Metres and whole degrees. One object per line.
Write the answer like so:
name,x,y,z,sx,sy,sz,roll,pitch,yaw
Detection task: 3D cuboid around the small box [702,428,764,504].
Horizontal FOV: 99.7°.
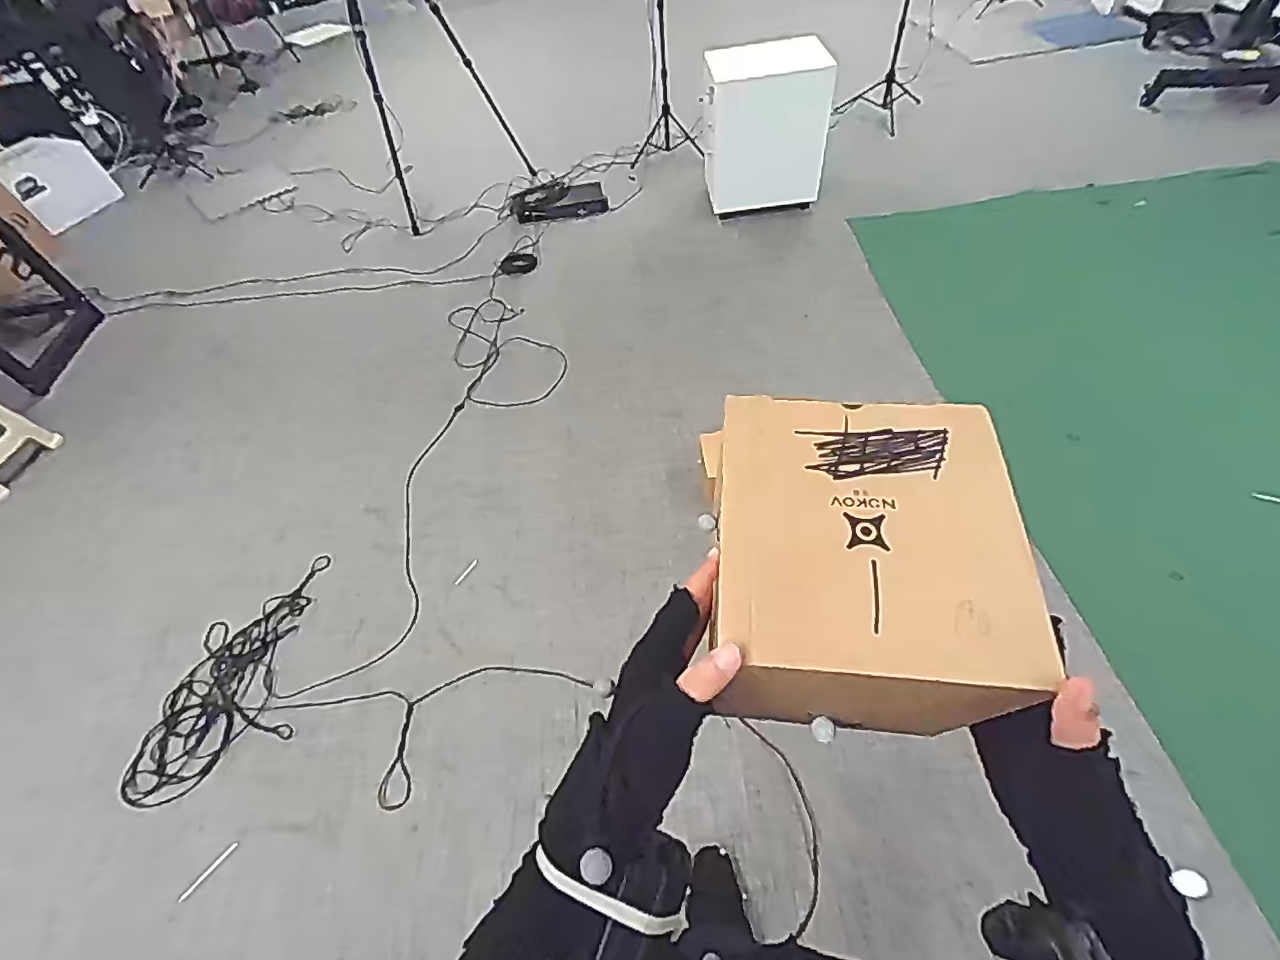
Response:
small box,0.290,-0.036,1.702,0.168,0.176,0.179,-7,53,2

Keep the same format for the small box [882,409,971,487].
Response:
small box,0.877,-0.091,1.674,0.168,0.176,0.179,-6,53,1
